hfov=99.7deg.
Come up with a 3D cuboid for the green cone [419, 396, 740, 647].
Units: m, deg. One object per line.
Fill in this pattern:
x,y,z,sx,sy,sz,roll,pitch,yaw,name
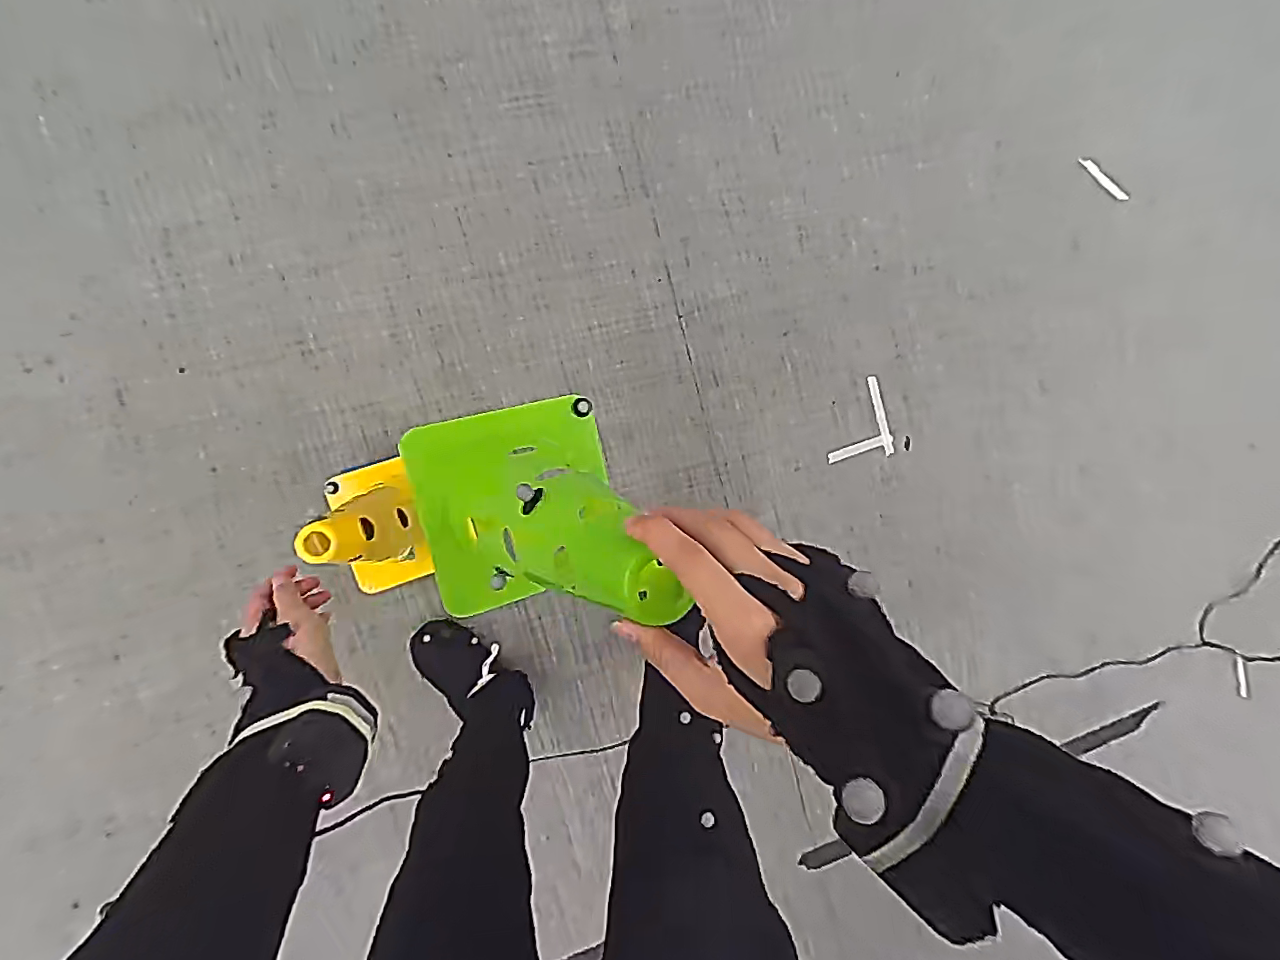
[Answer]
-0.044,0.039,0.407,0.200,0.368,0.202,-16,100,-20,green cone
